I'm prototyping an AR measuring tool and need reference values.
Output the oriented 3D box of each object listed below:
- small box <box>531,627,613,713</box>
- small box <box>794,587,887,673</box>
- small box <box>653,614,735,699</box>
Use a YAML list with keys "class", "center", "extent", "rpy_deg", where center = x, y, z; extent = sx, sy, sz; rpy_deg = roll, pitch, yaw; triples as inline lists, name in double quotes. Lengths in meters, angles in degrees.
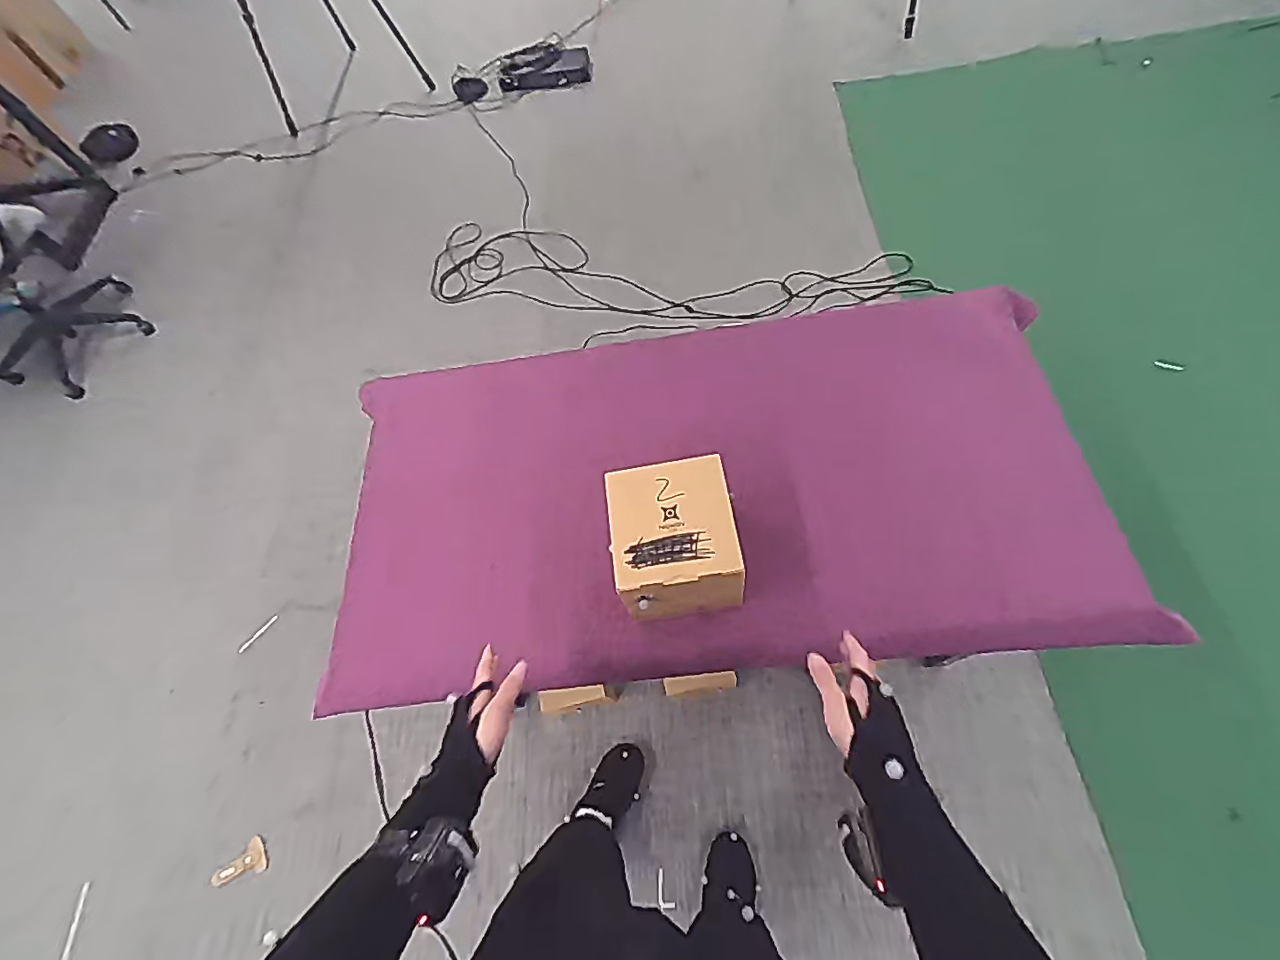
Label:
- class: "small box"
  center: [-0.174, 0.503, 1.417]
  extent: [0.168, 0.176, 0.179]
  rpy_deg: [-14, 62, 1]
- class: "small box"
  center: [0.501, 0.389, 1.378]
  extent: [0.168, 0.176, 0.179]
  rpy_deg: [-9, 62, 3]
- class: "small box"
  center: [0.139, 0.459, 1.395]
  extent: [0.179, 0.176, 0.168]
  rpy_deg: [-13, 62, 2]
